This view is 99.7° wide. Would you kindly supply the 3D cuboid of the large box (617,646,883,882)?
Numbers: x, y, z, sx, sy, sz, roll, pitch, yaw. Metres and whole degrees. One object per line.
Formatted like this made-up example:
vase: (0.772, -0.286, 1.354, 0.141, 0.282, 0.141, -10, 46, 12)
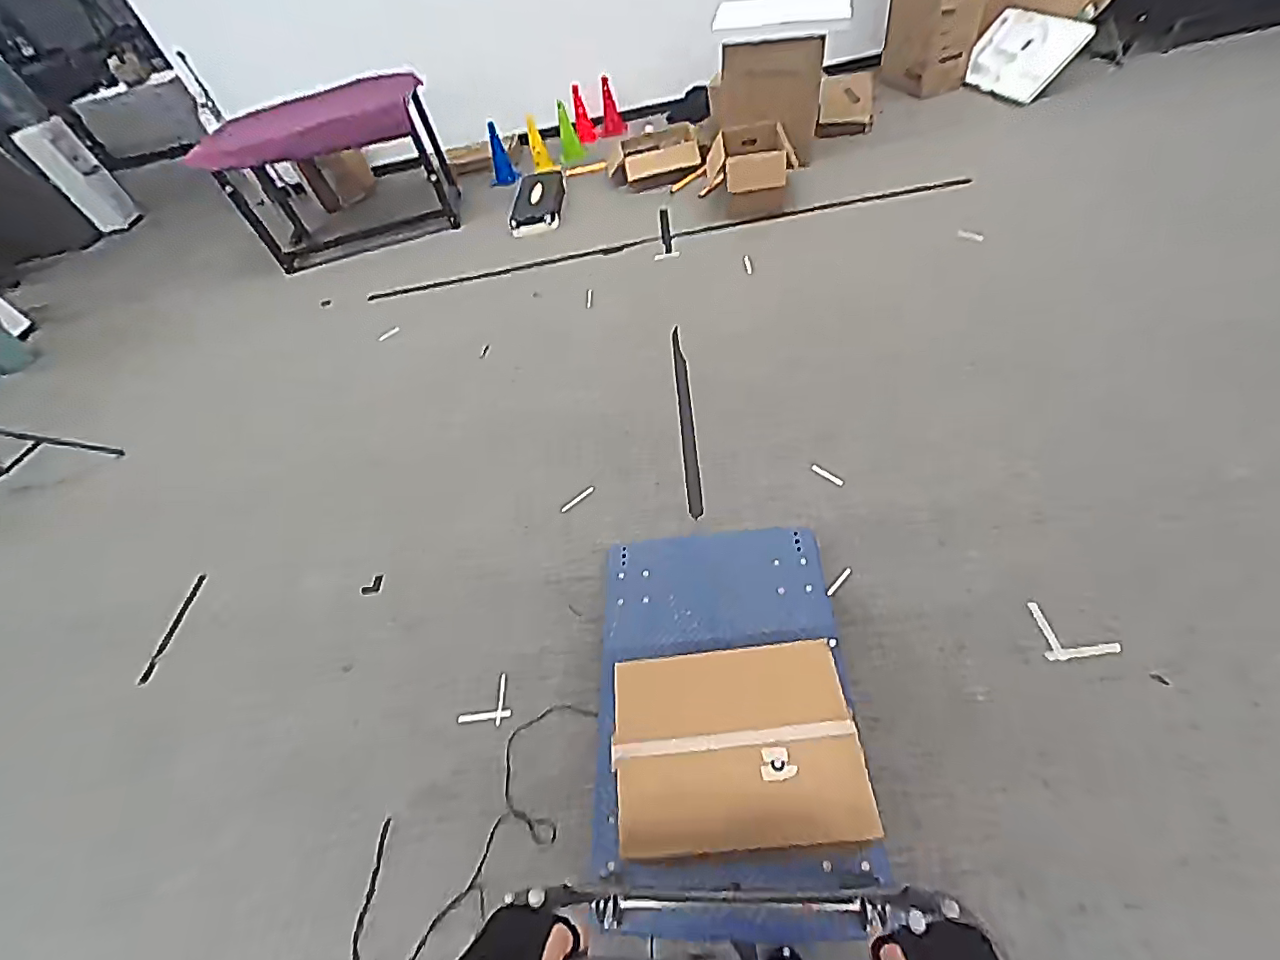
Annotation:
large box: (0.183, 0.549, 1.034, 0.408, 0.320, 0.320, -8, 51, 4)
